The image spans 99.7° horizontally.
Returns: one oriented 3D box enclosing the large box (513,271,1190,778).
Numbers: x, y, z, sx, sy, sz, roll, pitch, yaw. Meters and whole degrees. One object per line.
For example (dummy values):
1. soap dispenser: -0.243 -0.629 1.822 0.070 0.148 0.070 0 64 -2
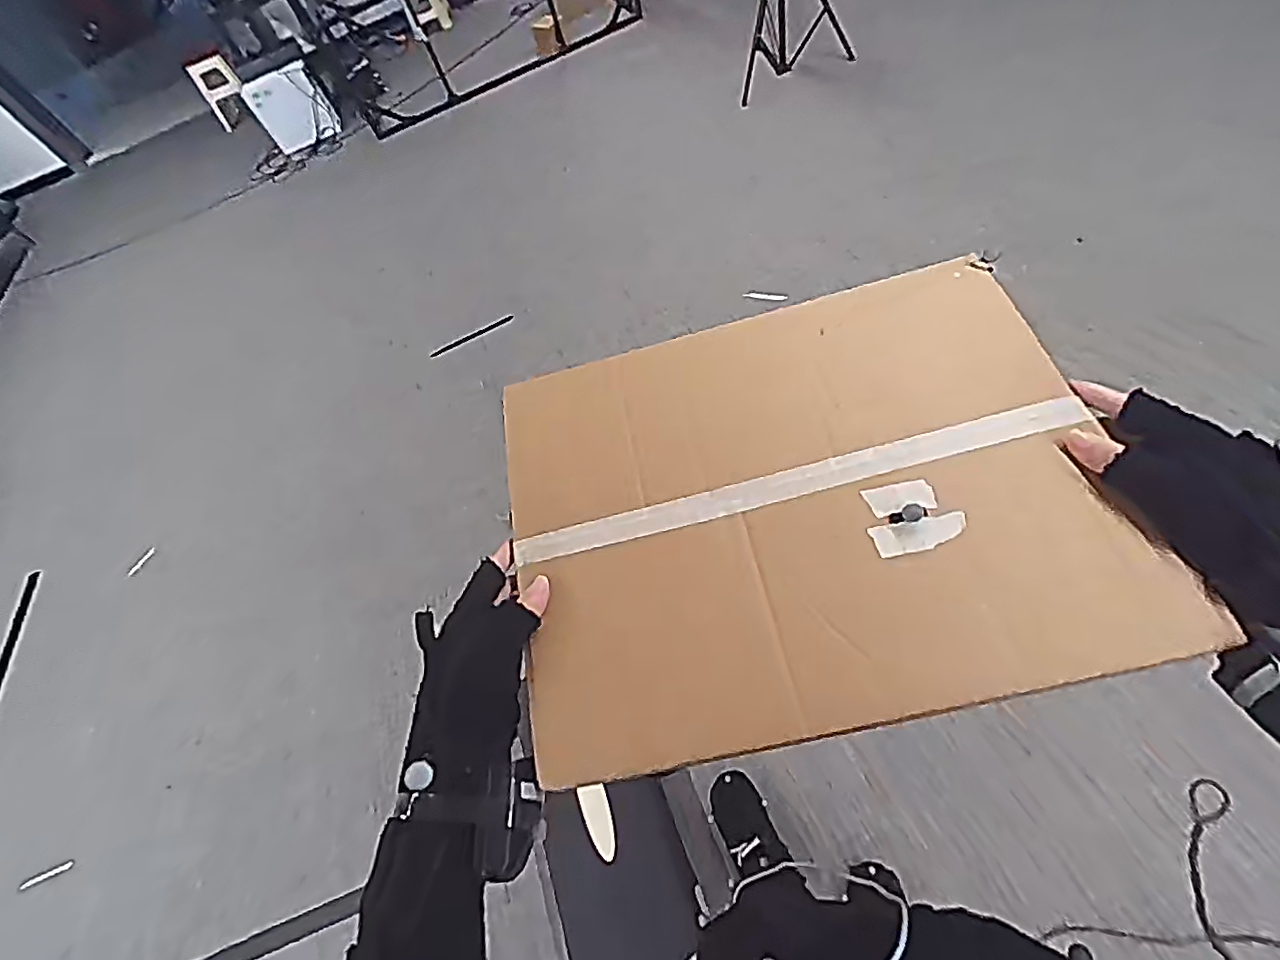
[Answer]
1. large box: 0.132 0.071 0.530 0.408 0.320 0.320 -15 63 5
